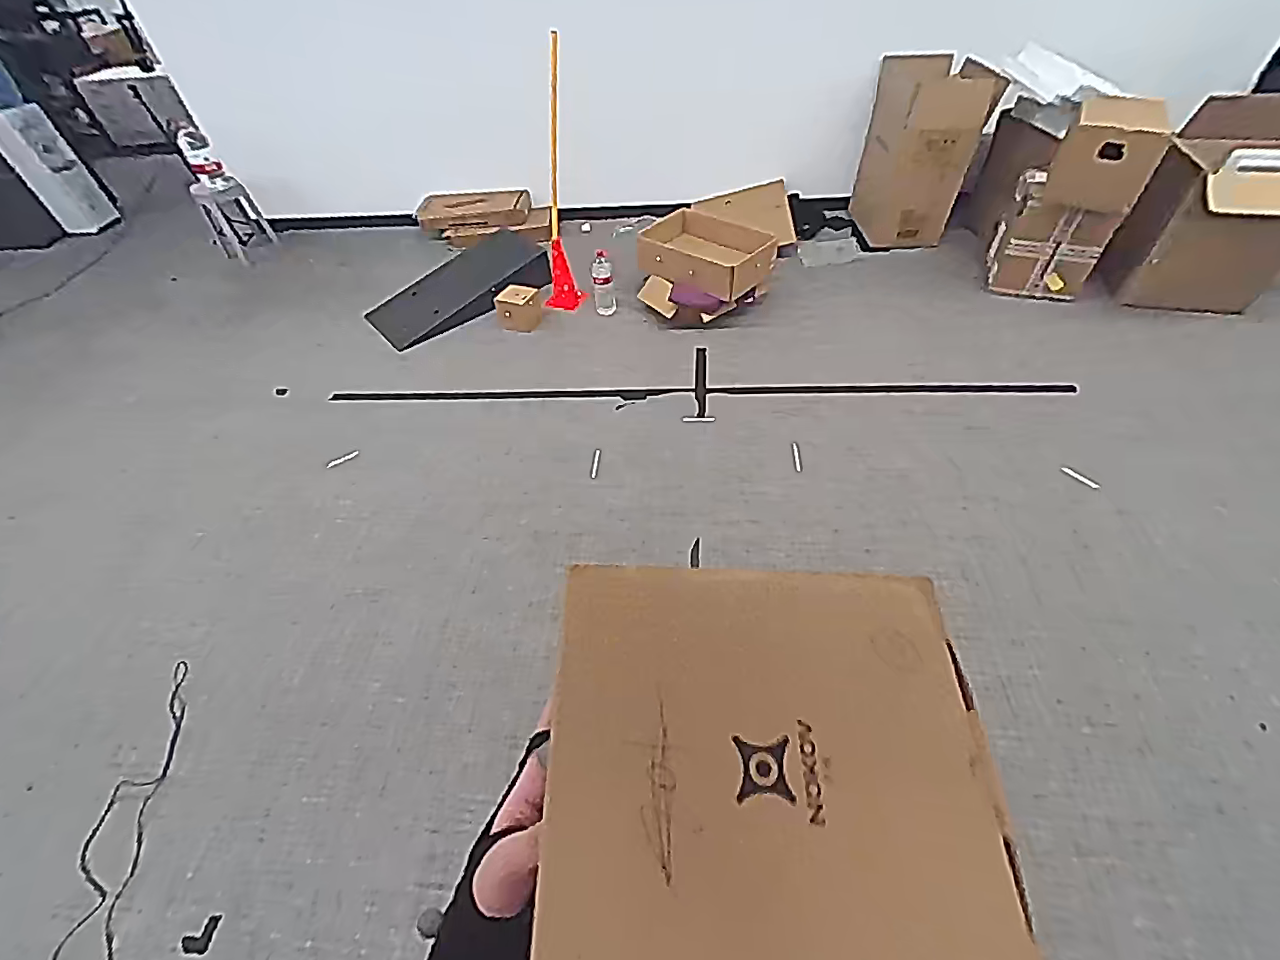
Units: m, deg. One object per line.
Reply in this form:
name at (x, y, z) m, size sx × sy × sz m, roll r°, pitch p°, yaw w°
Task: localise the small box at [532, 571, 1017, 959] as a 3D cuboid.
small box at (0.045, 0.159, 0.291) m, size 0.179 × 0.176 × 0.168 m, roll 1°, pitch 56°, yaw -2°
